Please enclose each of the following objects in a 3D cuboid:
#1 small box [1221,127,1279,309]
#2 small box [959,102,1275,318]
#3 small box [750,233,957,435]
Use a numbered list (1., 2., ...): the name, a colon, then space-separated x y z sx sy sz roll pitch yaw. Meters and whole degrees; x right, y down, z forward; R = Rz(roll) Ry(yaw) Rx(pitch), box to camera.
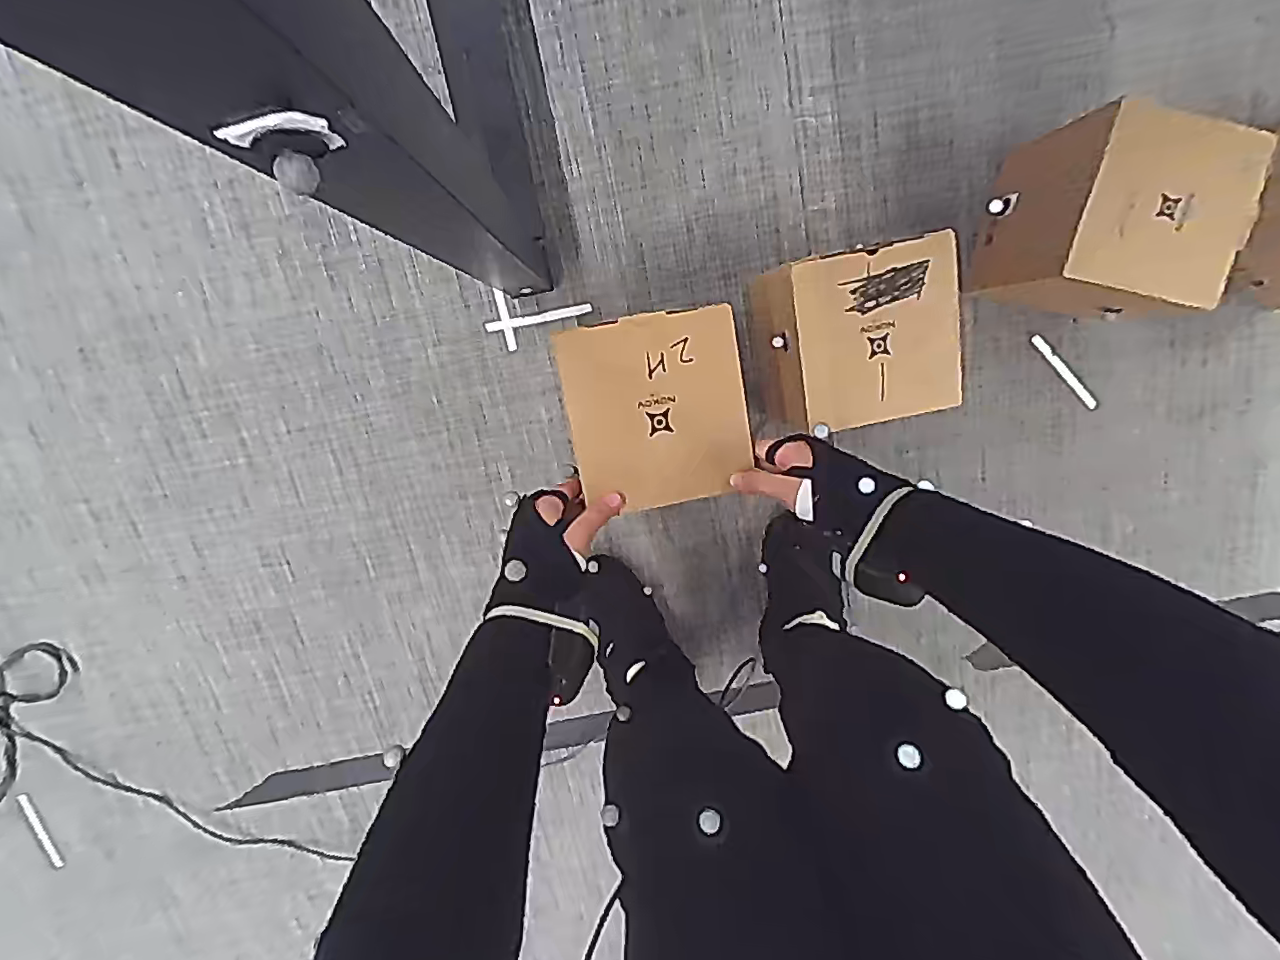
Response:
1. small box: 0.811 -0.315 0.611 0.168 0.176 0.179 32 100 -9
2. small box: 0.509 -0.282 0.608 0.179 0.176 0.168 10 102 -4
3. small box: 0.233 -0.164 0.623 0.168 0.176 0.179 -12 105 1
